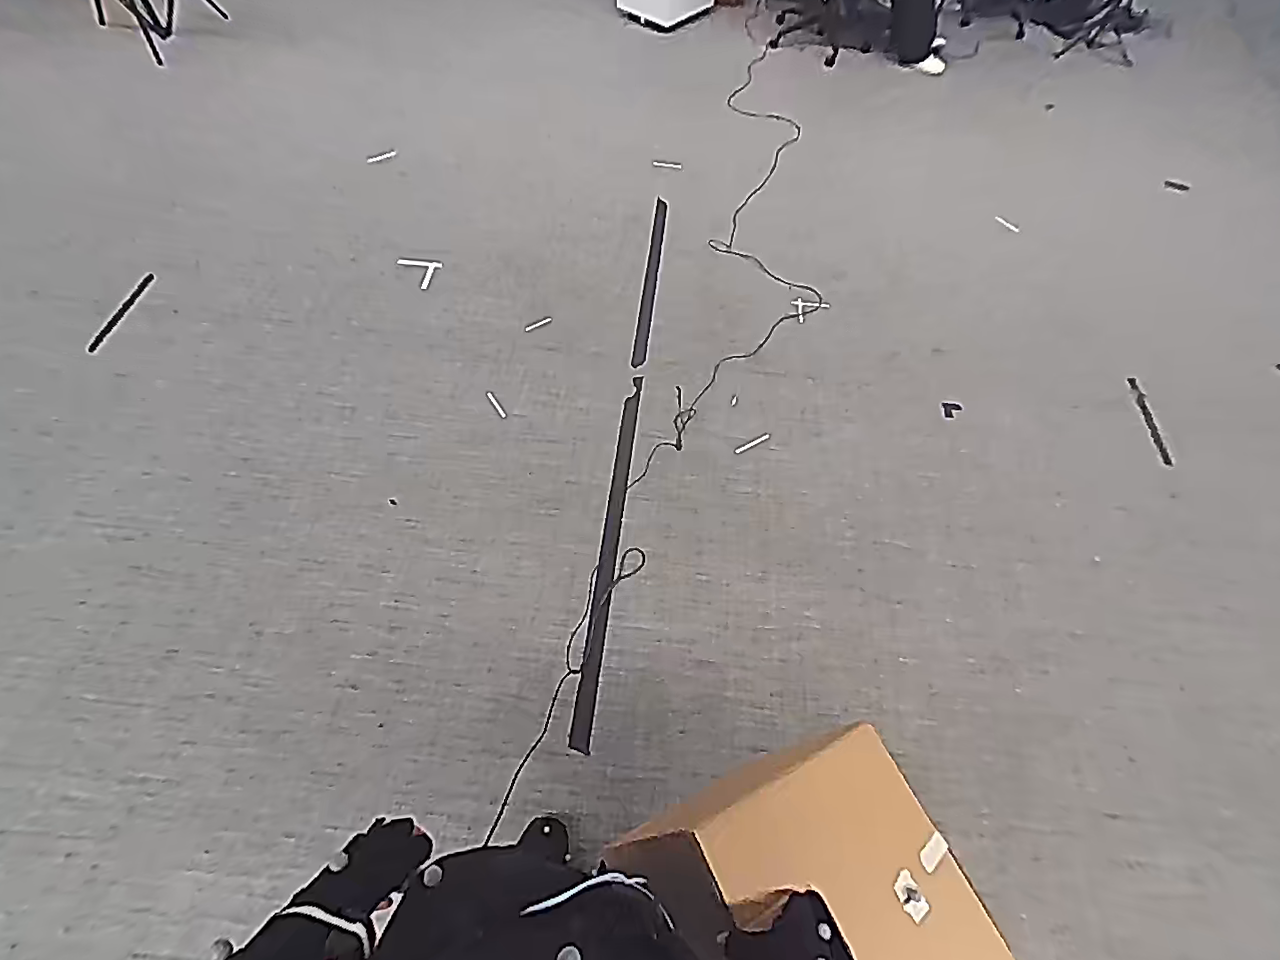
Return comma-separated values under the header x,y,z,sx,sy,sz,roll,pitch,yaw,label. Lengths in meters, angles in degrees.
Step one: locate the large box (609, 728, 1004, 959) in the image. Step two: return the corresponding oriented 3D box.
x,y,z,sx,sy,sz,roll,pitch,yaw,label
0.195,0.611,0.780,0.320,0.408,0.320,-13,61,-28,large box
